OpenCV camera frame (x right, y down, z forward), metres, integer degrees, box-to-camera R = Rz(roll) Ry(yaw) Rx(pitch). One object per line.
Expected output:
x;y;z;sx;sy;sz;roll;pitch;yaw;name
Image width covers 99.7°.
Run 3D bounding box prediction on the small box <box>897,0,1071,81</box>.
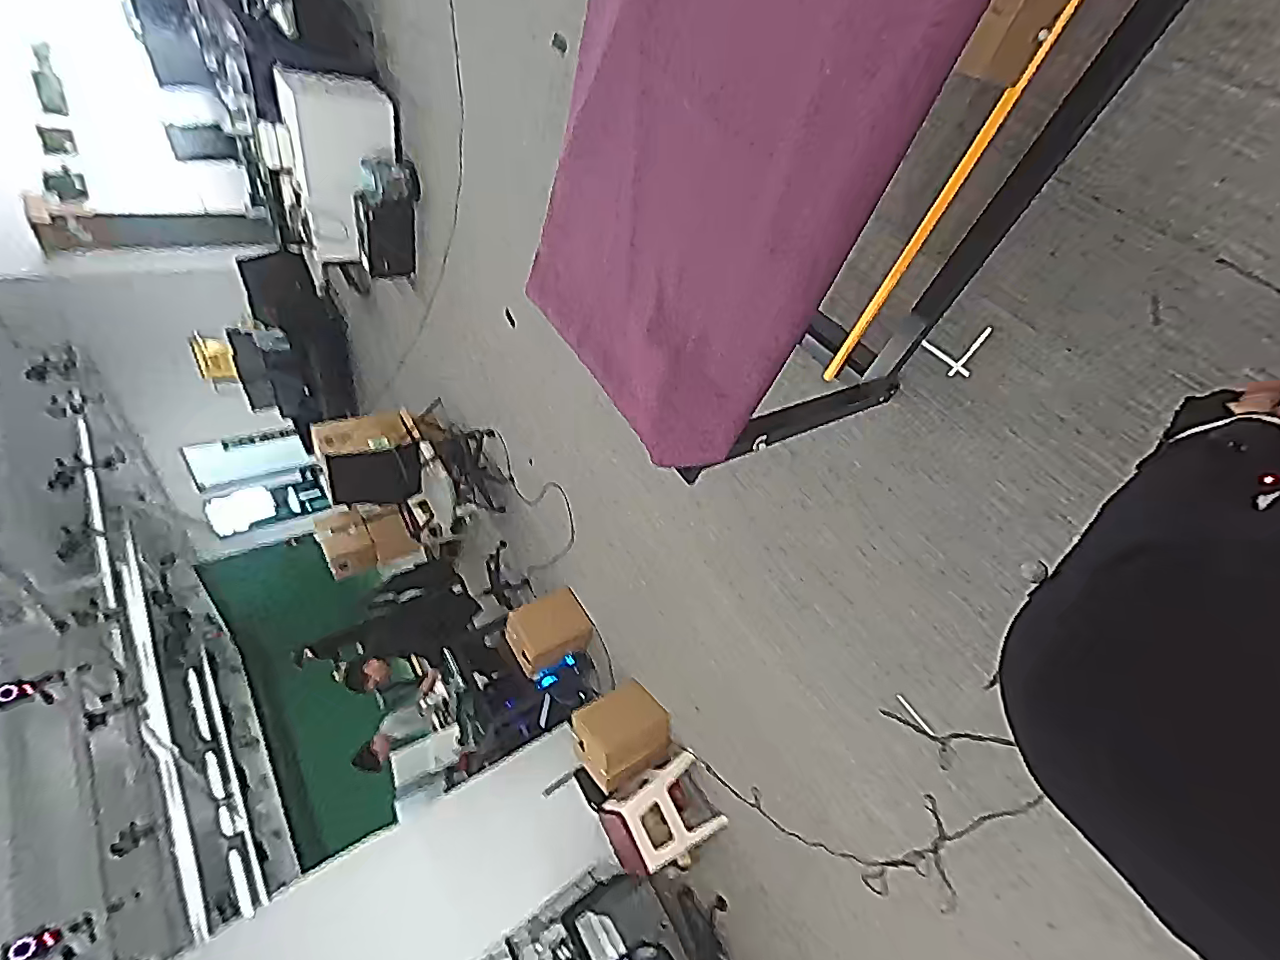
0.586;-0.799;0.908;0.179;0.176;0.168;49;141;25;small box
